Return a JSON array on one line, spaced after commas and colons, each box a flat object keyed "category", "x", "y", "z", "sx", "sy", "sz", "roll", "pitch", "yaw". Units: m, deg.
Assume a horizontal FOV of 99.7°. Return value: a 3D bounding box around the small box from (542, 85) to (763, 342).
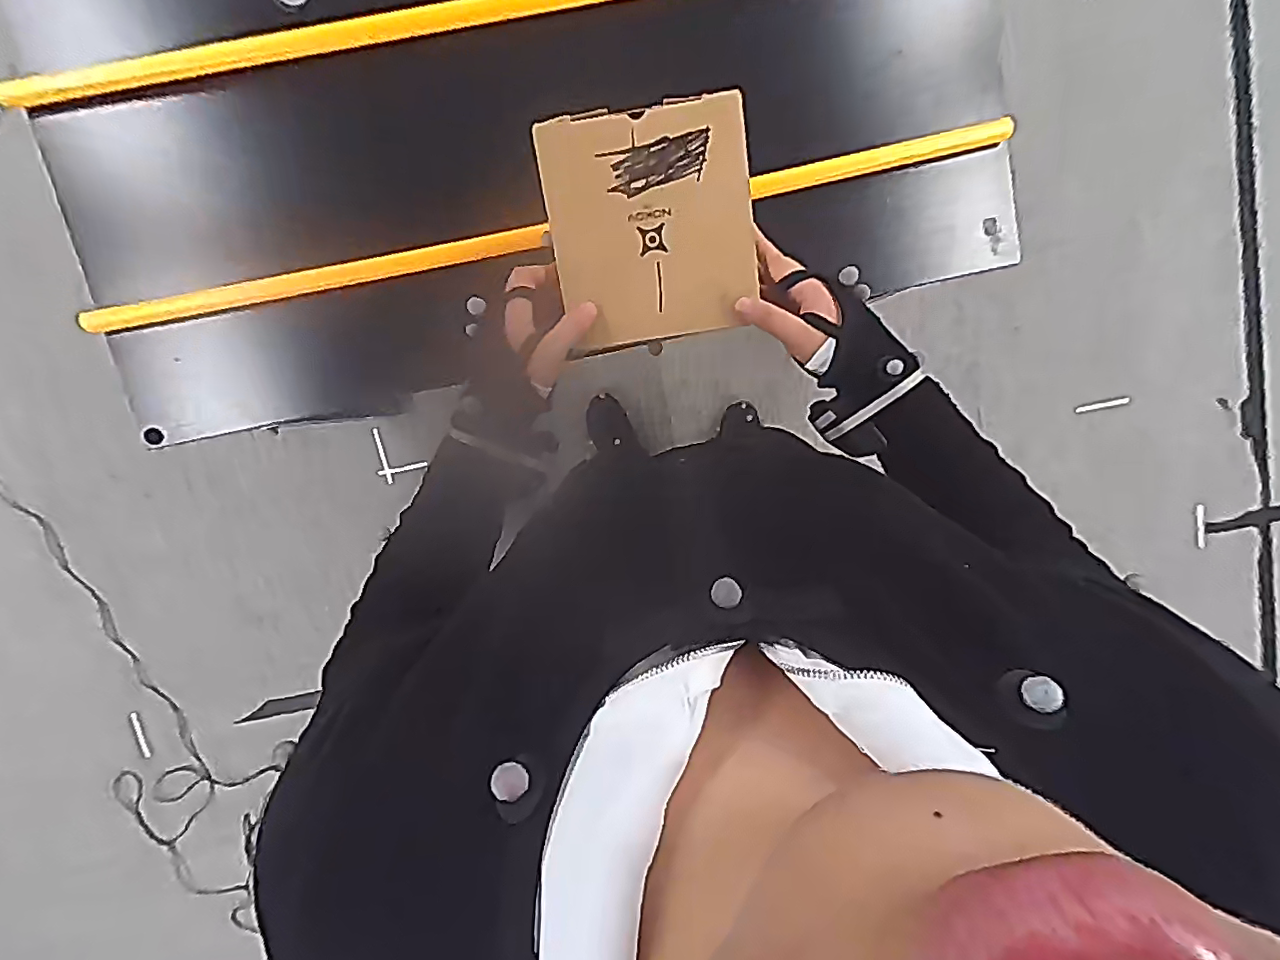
[{"category": "small box", "x": 0.011, "y": -0.232, "z": 0.518, "sx": 0.168, "sy": 0.176, "sz": 0.179, "roll": -9, "pitch": 105, "yaw": 1}]
